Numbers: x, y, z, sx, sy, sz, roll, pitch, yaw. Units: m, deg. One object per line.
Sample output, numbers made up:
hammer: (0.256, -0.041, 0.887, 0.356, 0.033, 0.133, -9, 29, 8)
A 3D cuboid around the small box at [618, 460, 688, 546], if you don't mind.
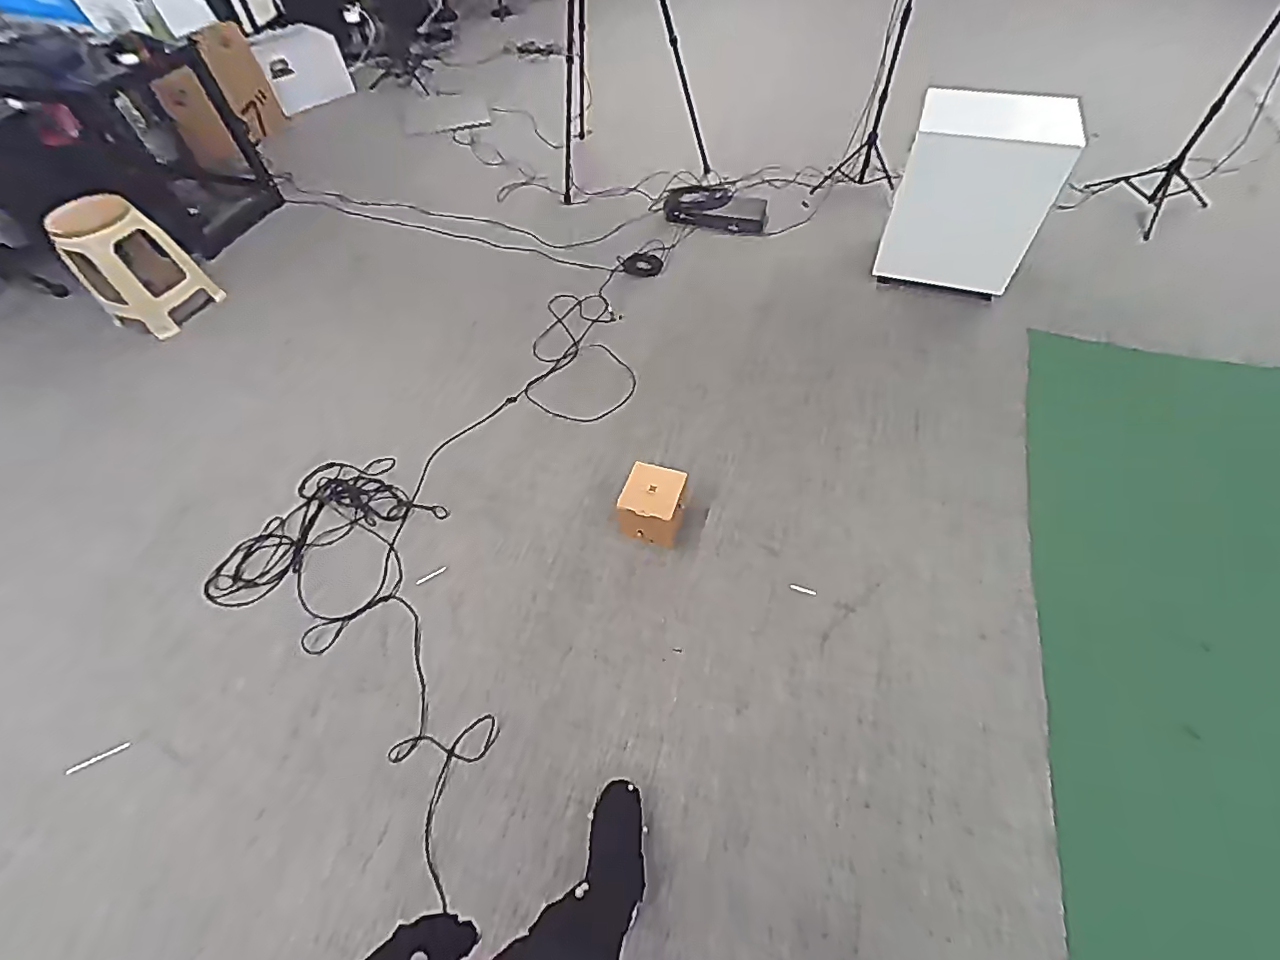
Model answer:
small box: (0.042, 0.072, 1.640, 0.168, 0.176, 0.179, 14, 56, 14)
